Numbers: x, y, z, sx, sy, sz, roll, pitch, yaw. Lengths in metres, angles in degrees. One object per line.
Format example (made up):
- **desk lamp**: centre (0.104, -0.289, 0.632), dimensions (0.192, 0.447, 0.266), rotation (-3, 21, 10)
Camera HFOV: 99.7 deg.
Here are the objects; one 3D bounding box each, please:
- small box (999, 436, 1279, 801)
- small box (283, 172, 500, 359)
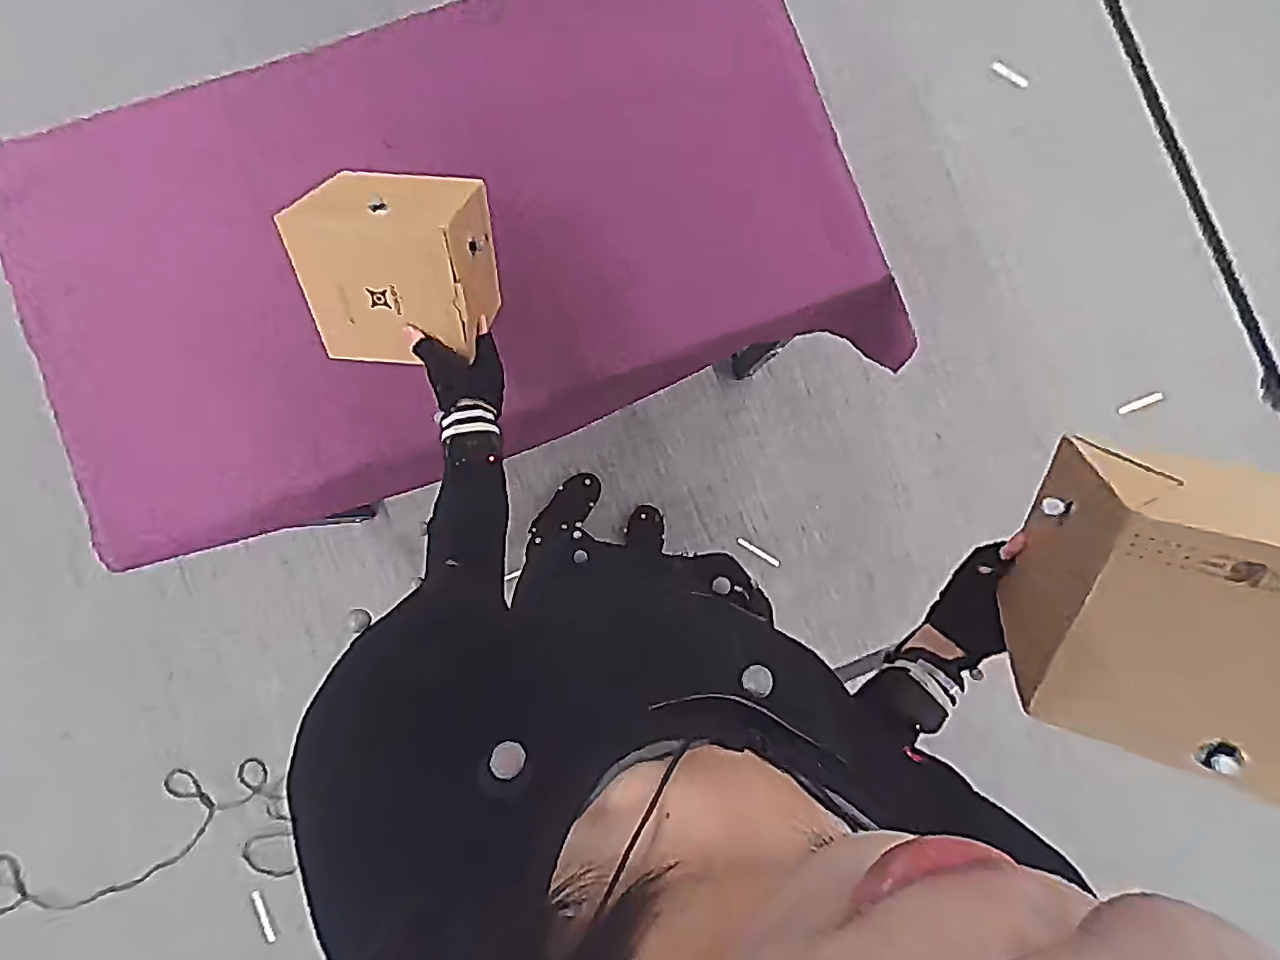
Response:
- **small box**: centre (0.387, 0.078, 0.385), dimensions (0.168, 0.179, 0.176), rotation (16, 117, 21)
- **small box**: centre (-0.279, -0.265, 0.663), dimensions (0.179, 0.176, 0.168), rotation (3, 133, 2)
